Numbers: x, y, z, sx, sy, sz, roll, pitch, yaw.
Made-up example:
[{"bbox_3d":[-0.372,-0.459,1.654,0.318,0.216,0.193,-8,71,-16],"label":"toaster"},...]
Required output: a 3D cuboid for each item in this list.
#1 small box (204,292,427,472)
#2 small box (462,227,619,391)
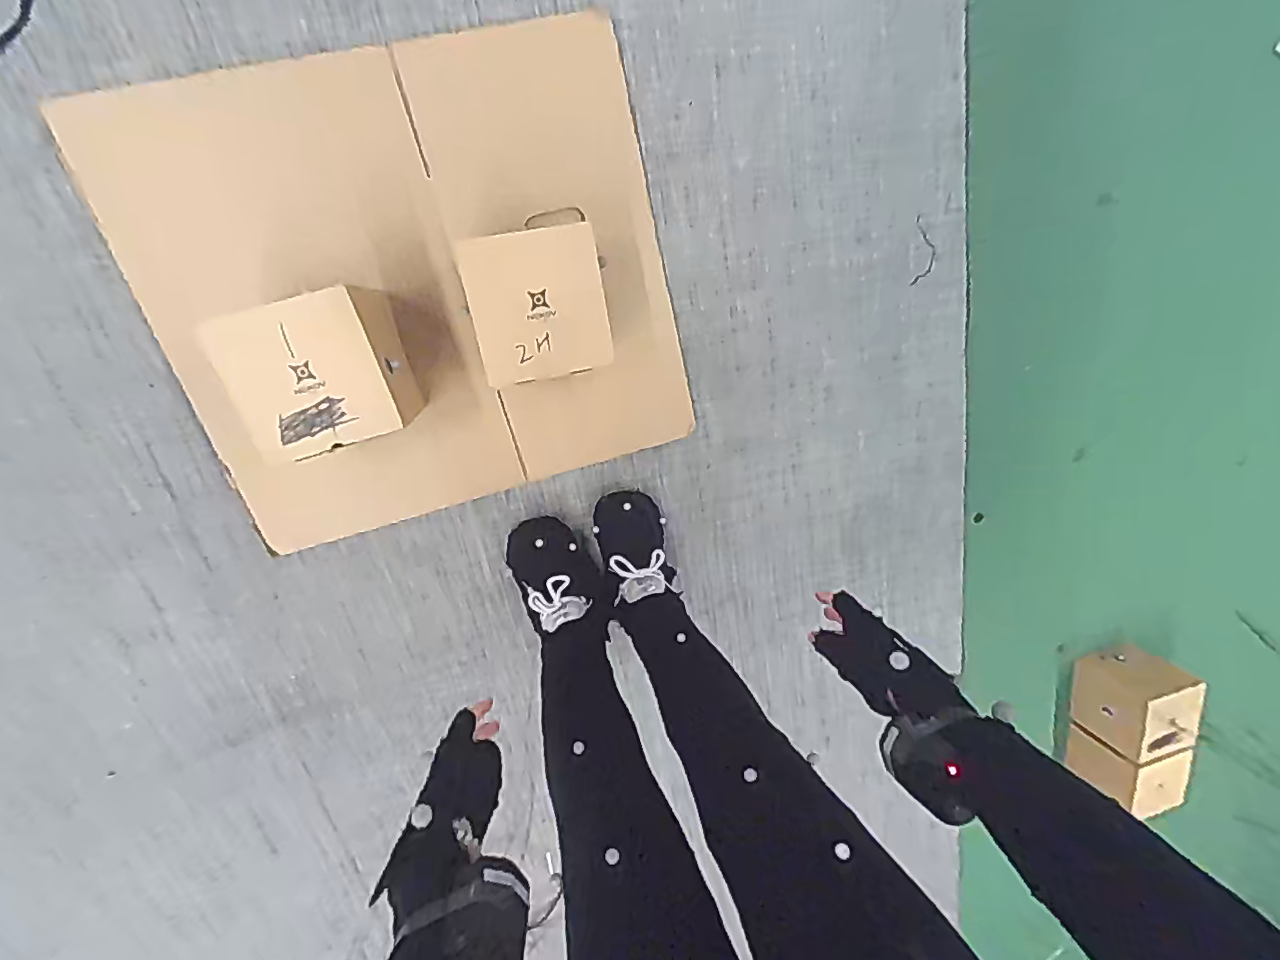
[{"bbox_3d":[-0.396,-0.133,0.701,0.168,0.176,0.179,-19,109,-7],"label":"small box"},{"bbox_3d":[-0.135,-0.230,0.739,0.168,0.176,0.179,-13,109,-9],"label":"small box"}]
